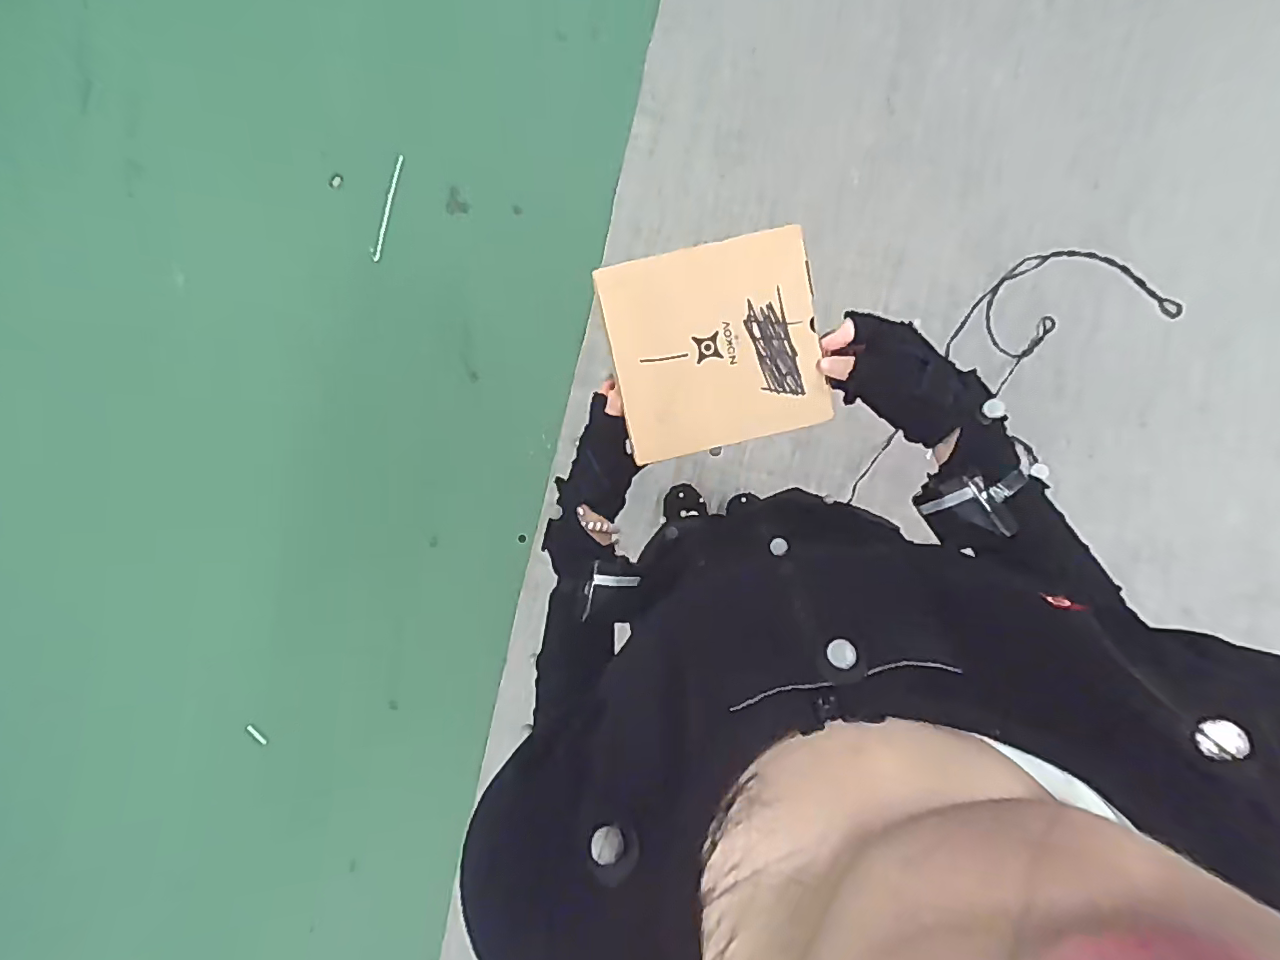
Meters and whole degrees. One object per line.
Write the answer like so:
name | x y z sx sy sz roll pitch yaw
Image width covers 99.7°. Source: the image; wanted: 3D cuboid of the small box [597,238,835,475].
small box | 0.061 -0.111 0.521 0.179 0.176 0.168 -12 98 0
